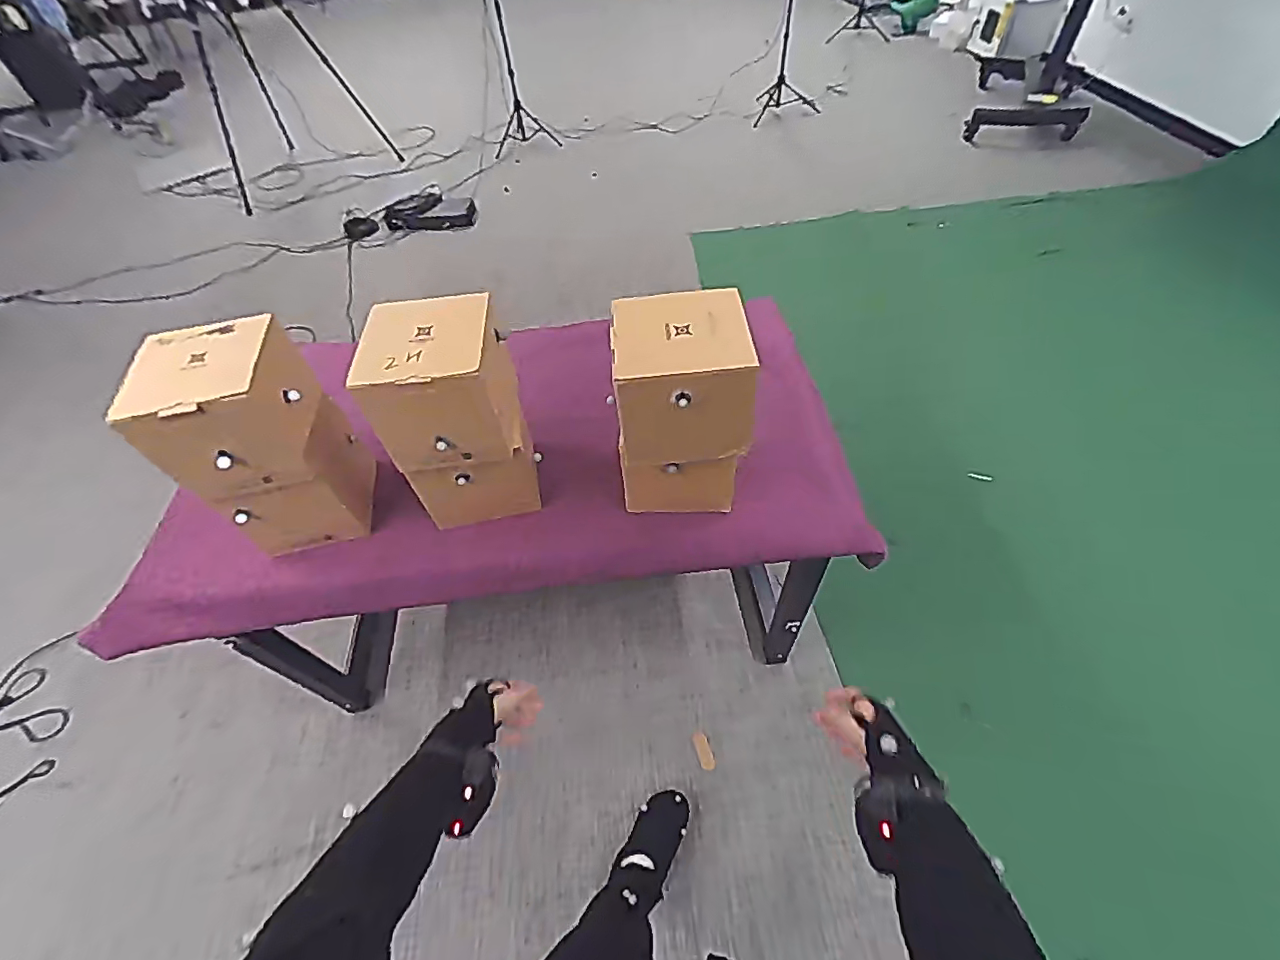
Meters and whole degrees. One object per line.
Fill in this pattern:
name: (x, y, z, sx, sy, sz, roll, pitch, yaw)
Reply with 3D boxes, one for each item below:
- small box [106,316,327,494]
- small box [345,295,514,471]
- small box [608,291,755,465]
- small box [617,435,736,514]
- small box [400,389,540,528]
small box: (-0.568, -0.098, 0.759, 0.168, 0.176, 0.179, -13, 53, -7)
small box: (-0.280, -0.136, 0.769, 0.168, 0.176, 0.179, -6, 52, -1)
small box: (0.054, -0.134, 0.745, 0.179, 0.176, 0.168, -5, 51, 2)
small box: (0.063, -0.056, 0.891, 0.179, 0.176, 0.168, 0, 51, 6)
small box: (-0.276, -0.040, 0.903, 0.179, 0.176, 0.168, -12, 52, -6)
